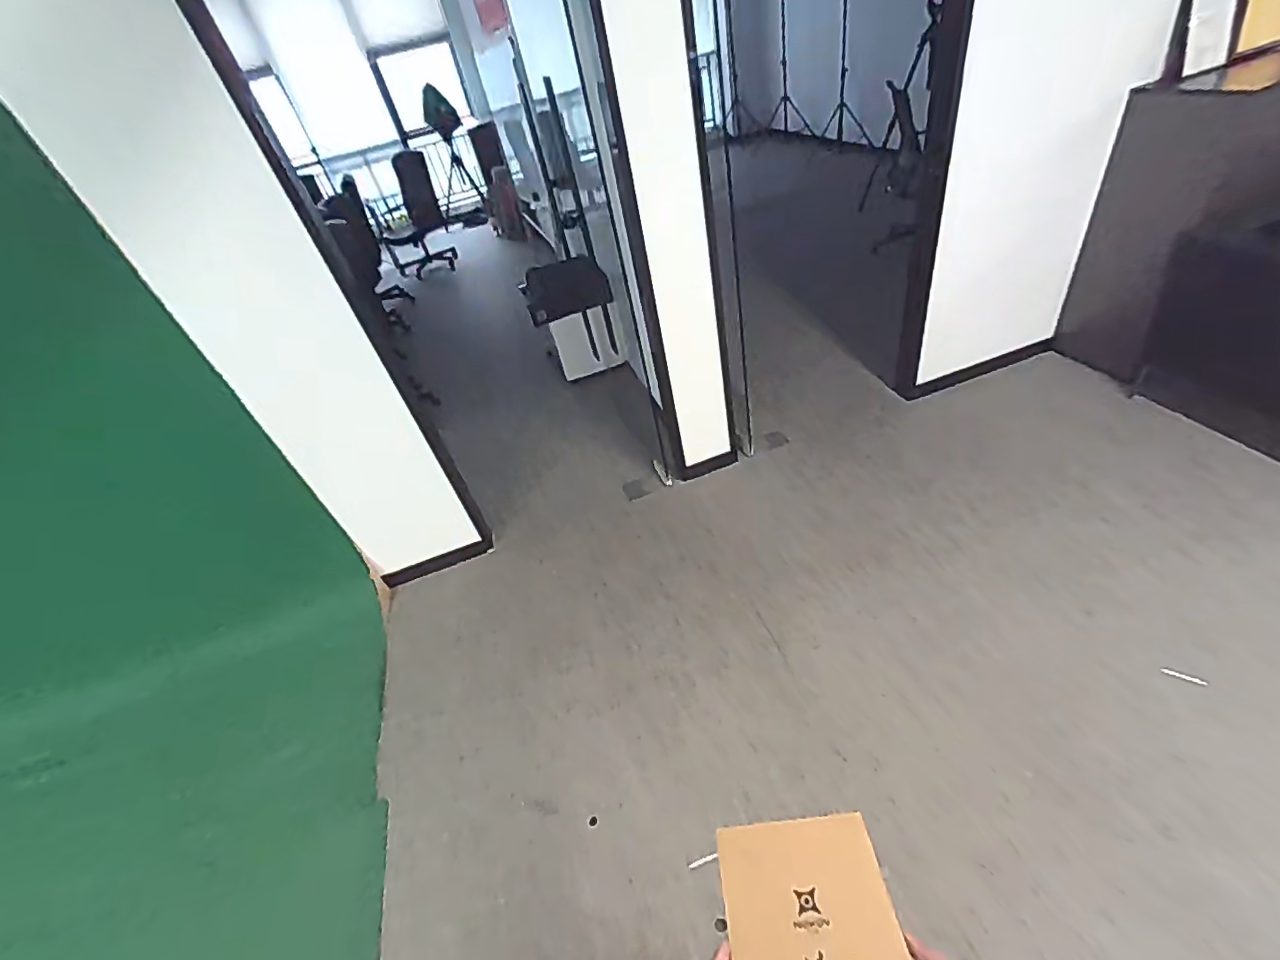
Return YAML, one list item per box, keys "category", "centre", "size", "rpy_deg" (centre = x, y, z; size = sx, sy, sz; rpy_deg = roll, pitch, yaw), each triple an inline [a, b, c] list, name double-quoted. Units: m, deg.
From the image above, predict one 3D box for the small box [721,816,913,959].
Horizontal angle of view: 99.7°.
- category: "small box"
  centre: [0.186, 0.501, 0.580]
  size: [0.168, 0.176, 0.179]
  rpy_deg: [-10, 32, 5]
